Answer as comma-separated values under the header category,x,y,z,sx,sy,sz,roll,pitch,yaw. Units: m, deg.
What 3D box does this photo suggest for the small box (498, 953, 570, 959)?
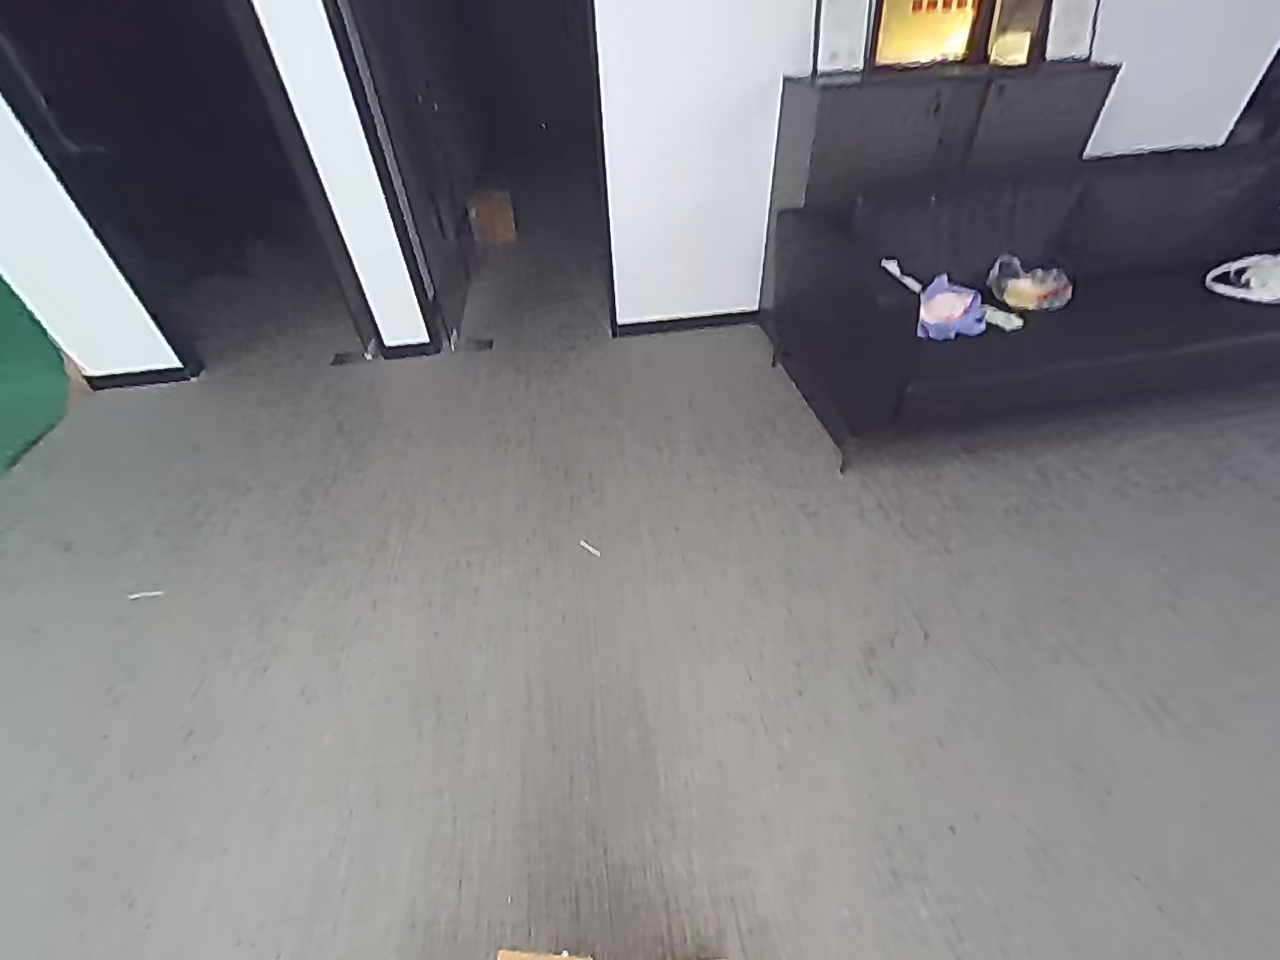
category,x,y,z,sx,sy,sz,roll,pitch,yaw
small box,-0.165,0.929,0.907,0.168,0.176,0.179,1,42,5
